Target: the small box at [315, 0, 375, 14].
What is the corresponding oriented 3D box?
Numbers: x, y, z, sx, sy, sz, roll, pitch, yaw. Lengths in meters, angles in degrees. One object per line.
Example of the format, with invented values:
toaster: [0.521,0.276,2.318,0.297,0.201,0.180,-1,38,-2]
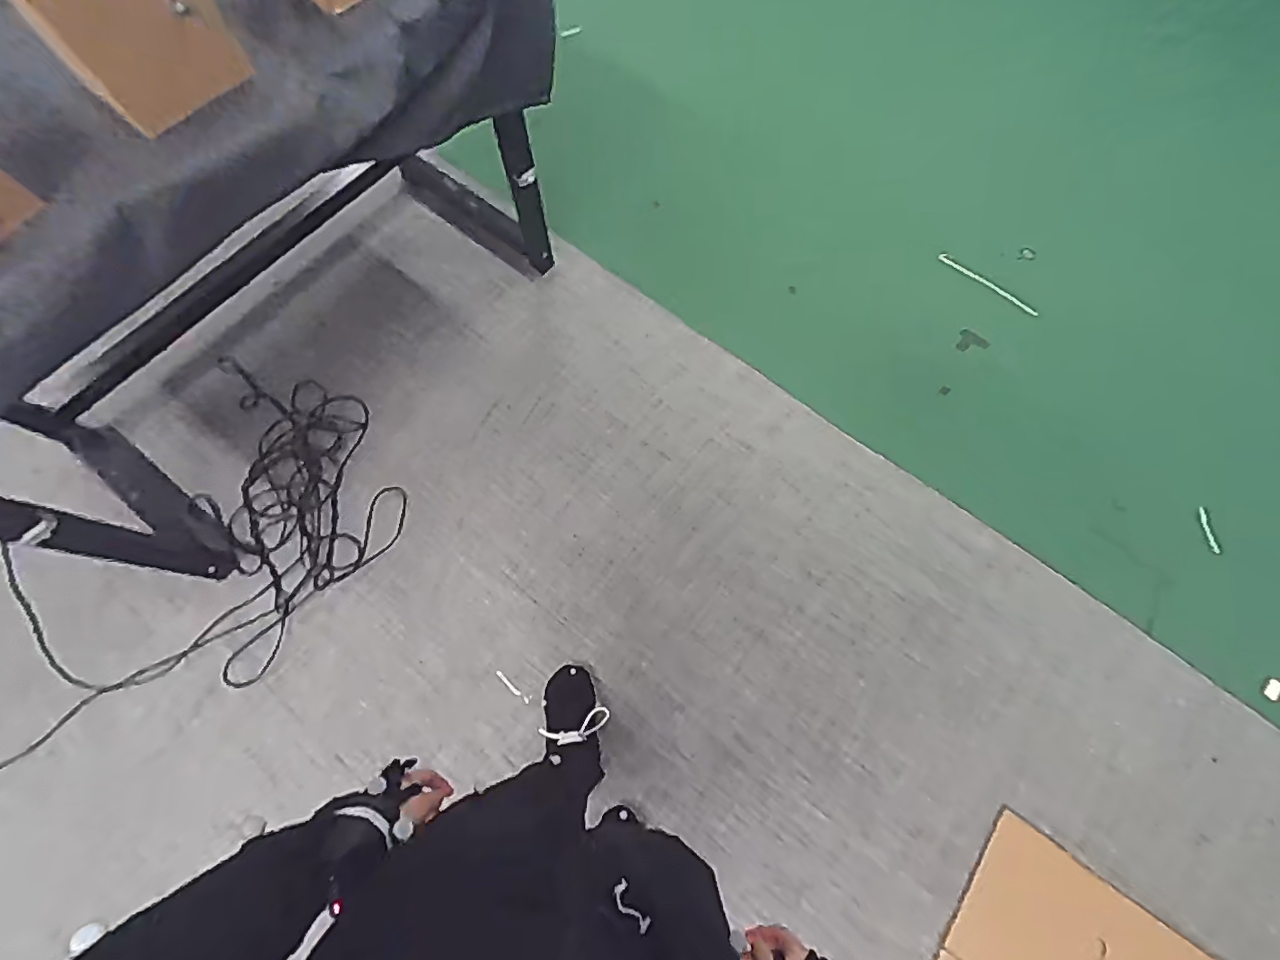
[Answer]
small box: [-0.462,-0.835,0.783,0.179,0.176,0.168,41,76,12]
